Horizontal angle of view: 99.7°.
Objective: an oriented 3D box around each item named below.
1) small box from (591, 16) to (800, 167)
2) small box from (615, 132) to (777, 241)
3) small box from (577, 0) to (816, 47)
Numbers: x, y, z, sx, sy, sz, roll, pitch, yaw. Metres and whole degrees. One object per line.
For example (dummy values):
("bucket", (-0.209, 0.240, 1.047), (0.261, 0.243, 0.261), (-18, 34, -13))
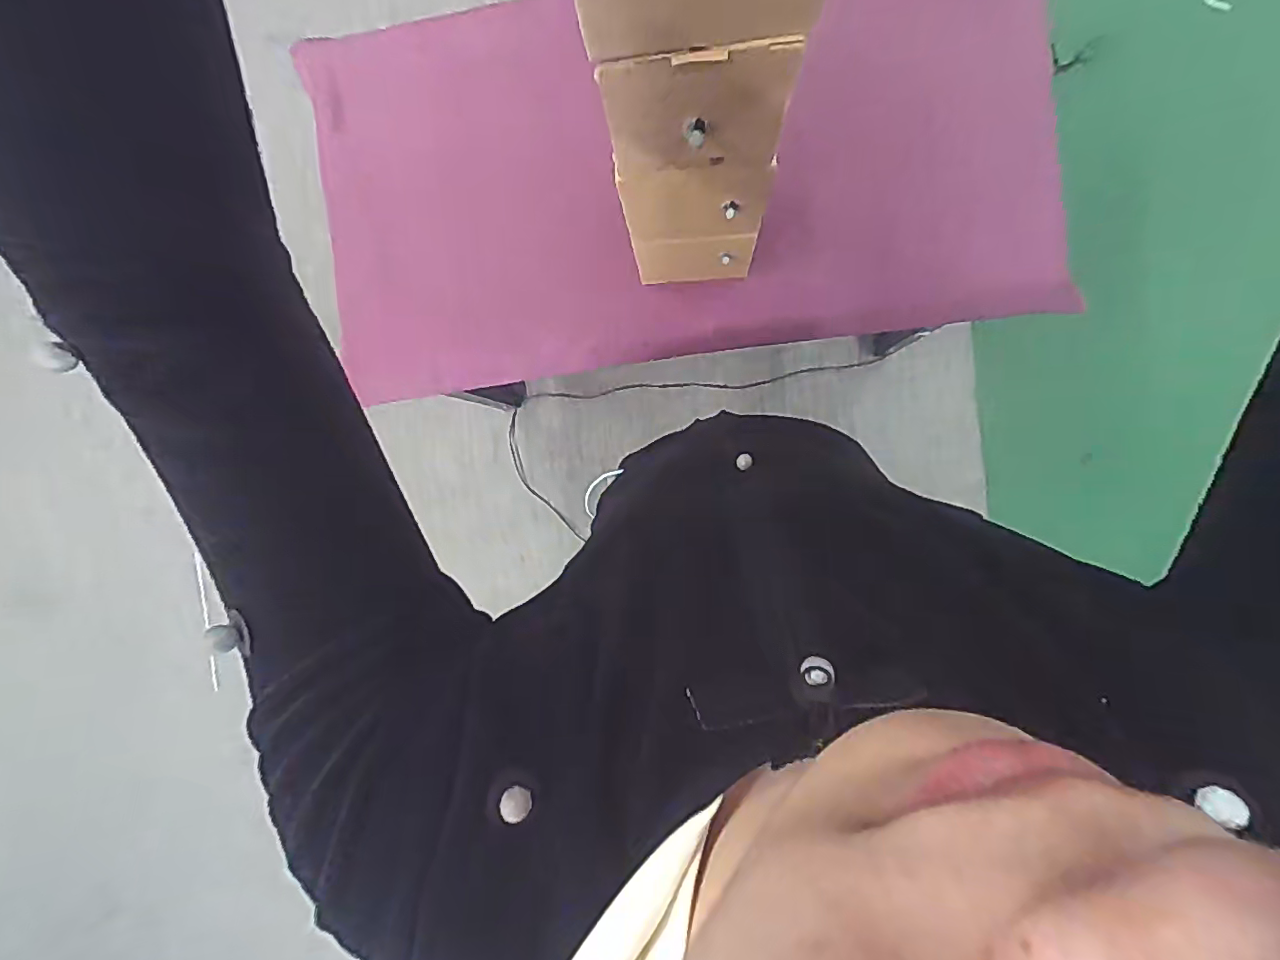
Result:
("small box", (0.049, -0.415, 0.498), (0.168, 0.176, 0.179), (-2, 91, 5))
("small box", (0.065, -0.411, 0.660), (0.179, 0.176, 0.168), (-2, 91, 6))
("small box", (0.032, -0.415, 0.334), (0.179, 0.176, 0.168), (-4, 90, 5))
